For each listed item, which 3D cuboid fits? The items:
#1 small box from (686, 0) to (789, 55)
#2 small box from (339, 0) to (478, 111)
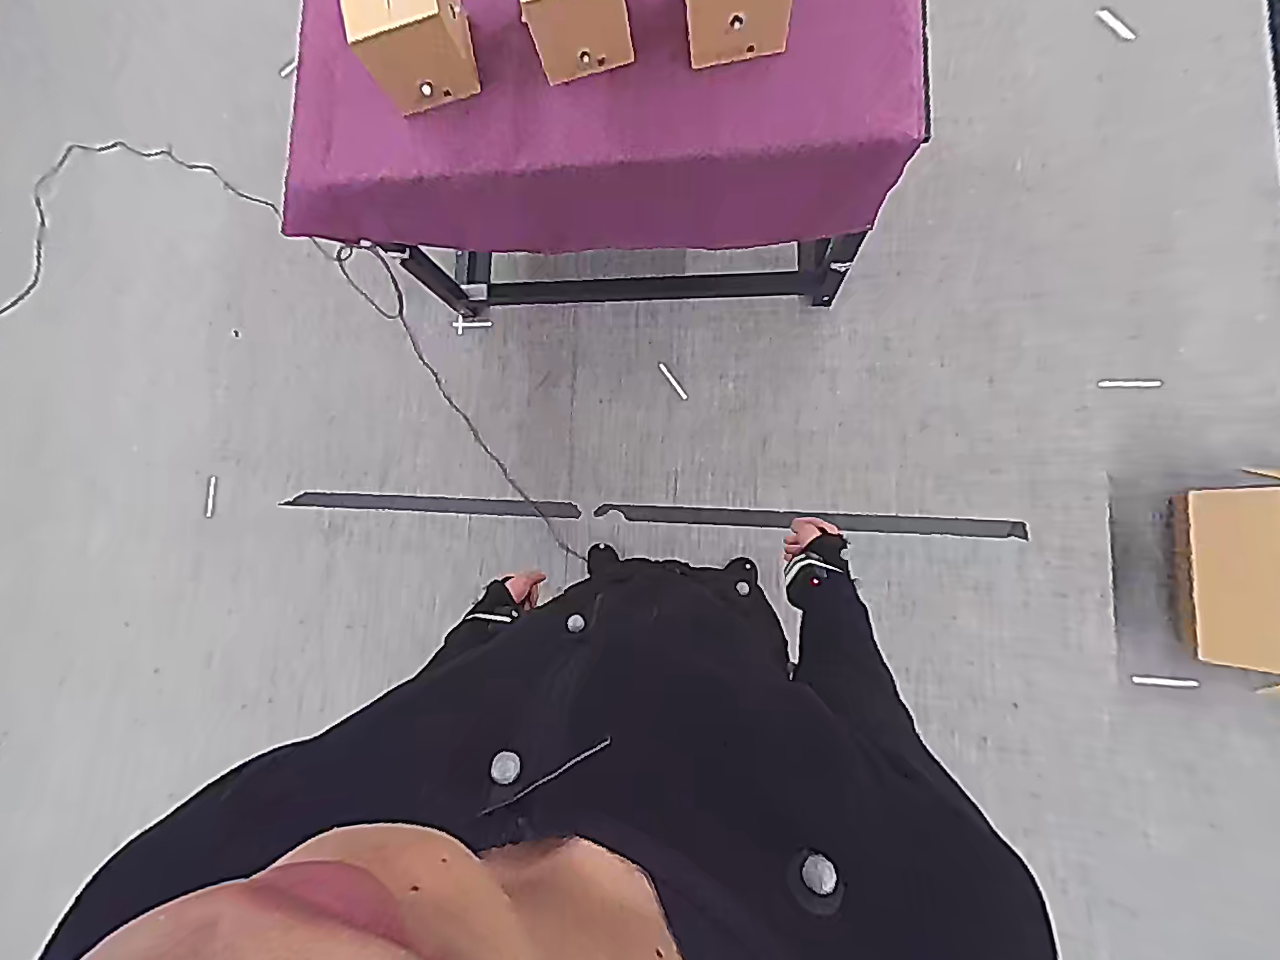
[{"bbox_3d":[0.156,-0.844,0.887,0.168,0.176,0.179,-5,84,7],"label":"small box"},{"bbox_3d":[-0.411,-0.815,0.966,0.168,0.176,0.179,-13,84,7],"label":"small box"}]
